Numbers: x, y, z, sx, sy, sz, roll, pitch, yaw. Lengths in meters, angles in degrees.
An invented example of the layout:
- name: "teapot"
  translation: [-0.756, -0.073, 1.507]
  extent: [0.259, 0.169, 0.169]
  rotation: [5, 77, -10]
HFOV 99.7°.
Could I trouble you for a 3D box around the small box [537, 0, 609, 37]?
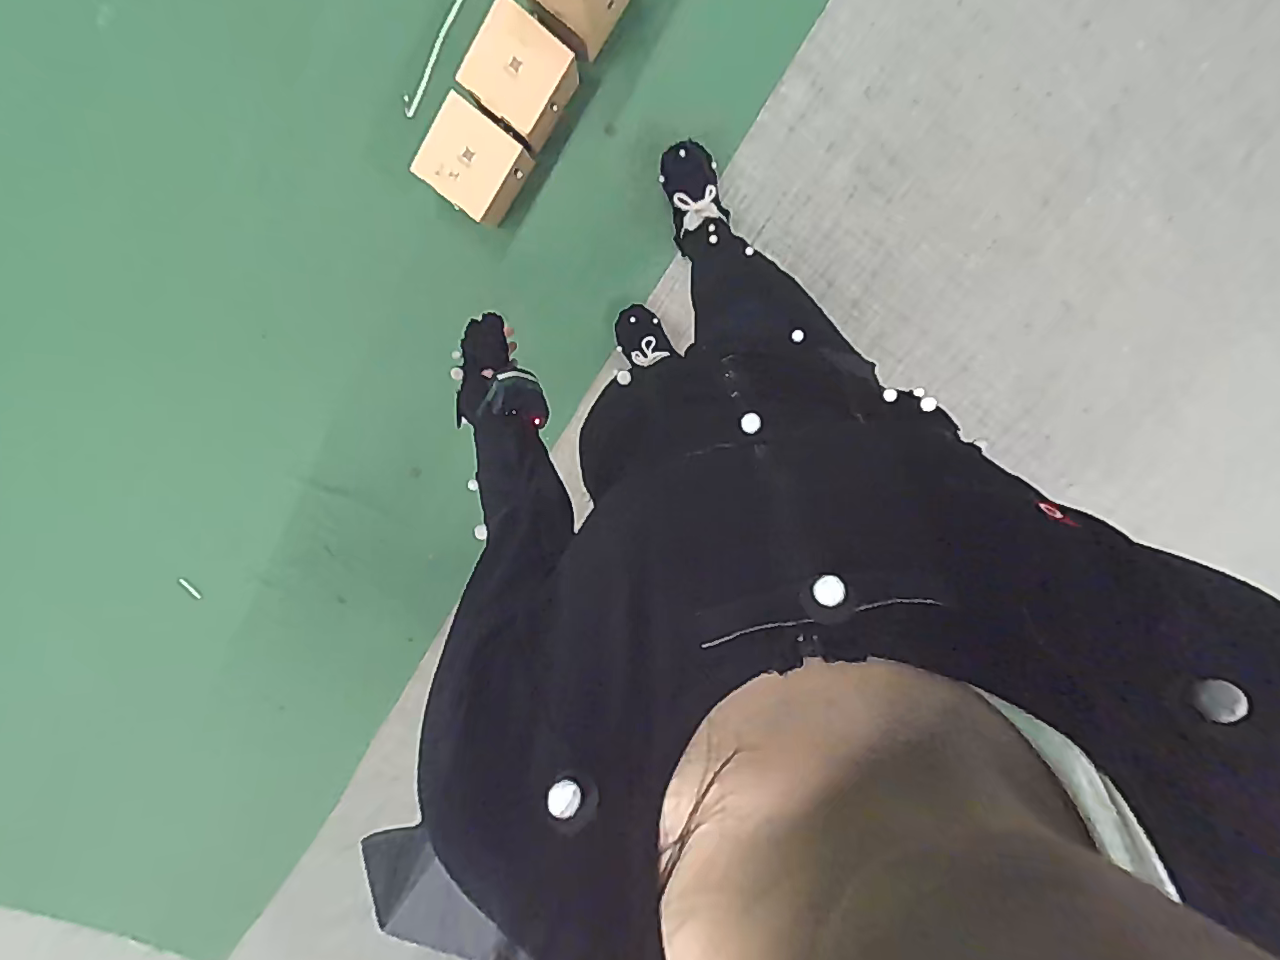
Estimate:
- name: "small box"
  translation: [-0.116, -0.915, 0.910]
  extent: [0.168, 0.176, 0.179]
  rotation: [31, 106, -13]
